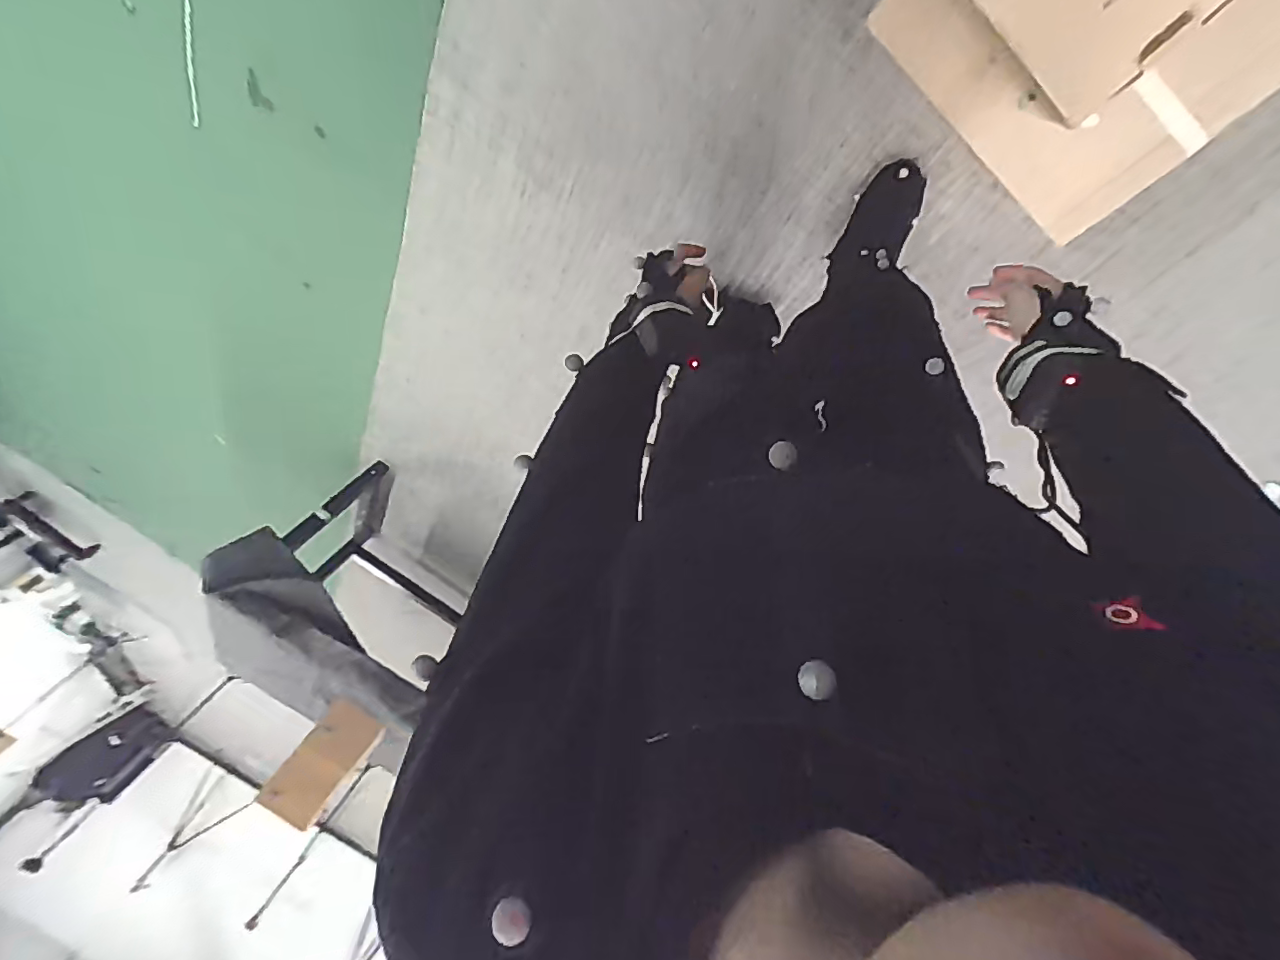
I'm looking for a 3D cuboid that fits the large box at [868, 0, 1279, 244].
[{"bbox_3d":[0.568,-0.612,0.730,0.408,0.320,0.320,40,133,-10],"label":"large box"}]

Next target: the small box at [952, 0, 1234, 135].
[{"bbox_3d":[0.450,-0.494,0.548,0.179,0.176,0.168,42,130,-9],"label":"small box"}]

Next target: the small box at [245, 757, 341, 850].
[{"bbox_3d":[-1.018,0.954,1.598,0.179,0.176,0.168,36,133,-3],"label":"small box"}]
